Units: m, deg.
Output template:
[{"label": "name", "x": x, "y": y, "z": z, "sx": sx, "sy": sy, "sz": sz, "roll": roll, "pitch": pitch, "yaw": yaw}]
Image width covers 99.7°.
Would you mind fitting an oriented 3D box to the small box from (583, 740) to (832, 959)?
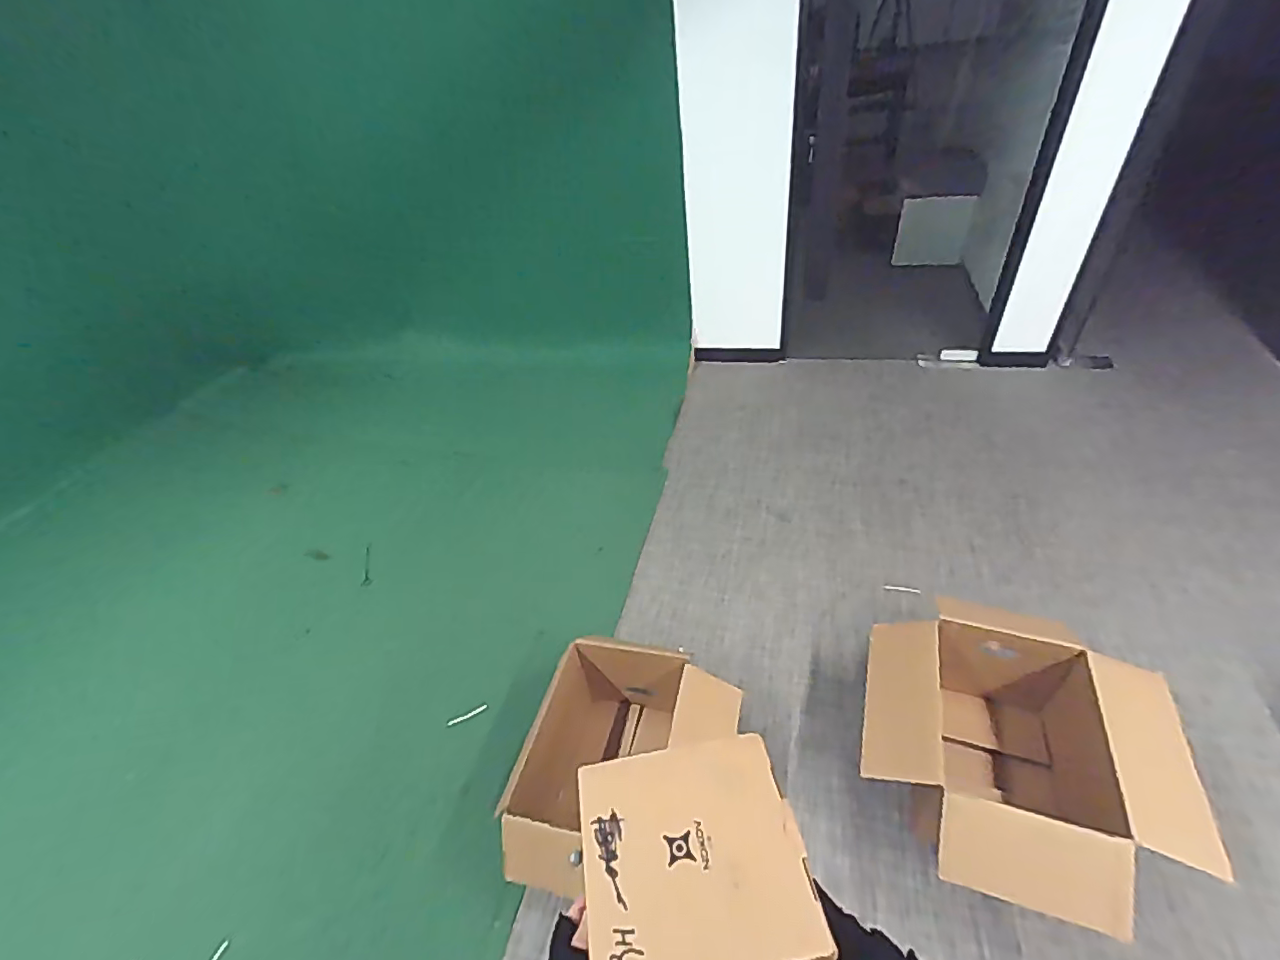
[{"label": "small box", "x": 0.045, "y": 0.366, "z": 0.486, "sx": 0.179, "sy": 0.176, "sz": 0.168, "roll": -7, "pitch": 35, "yaw": -5}]
